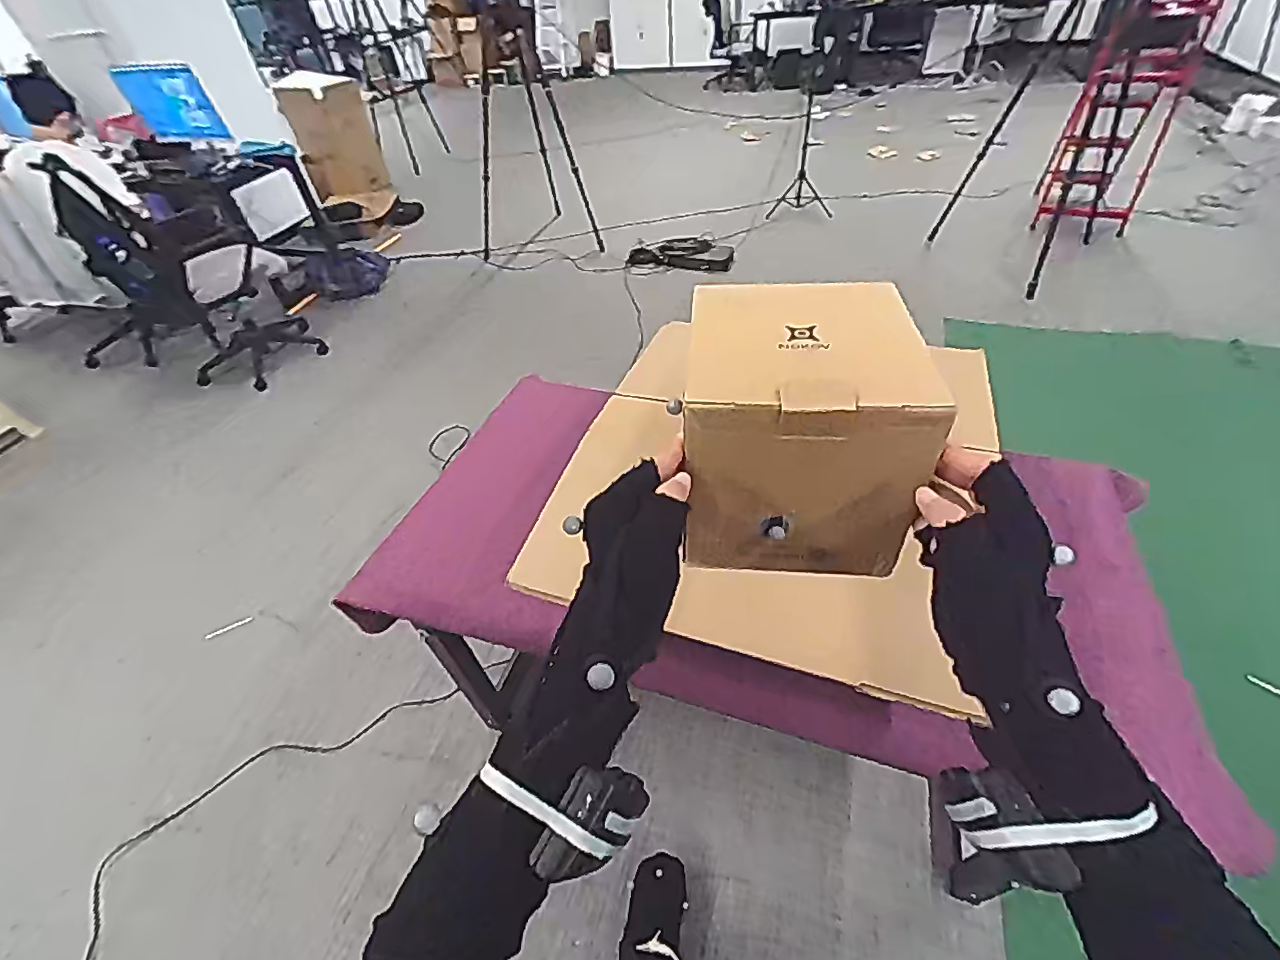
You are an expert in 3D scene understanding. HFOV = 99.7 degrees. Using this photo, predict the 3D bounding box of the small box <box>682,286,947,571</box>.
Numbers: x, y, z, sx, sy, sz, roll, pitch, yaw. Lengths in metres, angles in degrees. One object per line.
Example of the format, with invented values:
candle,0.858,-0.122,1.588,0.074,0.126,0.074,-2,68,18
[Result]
small box,0.122,-0.048,0.455,0.168,0.176,0.179,2,44,7
